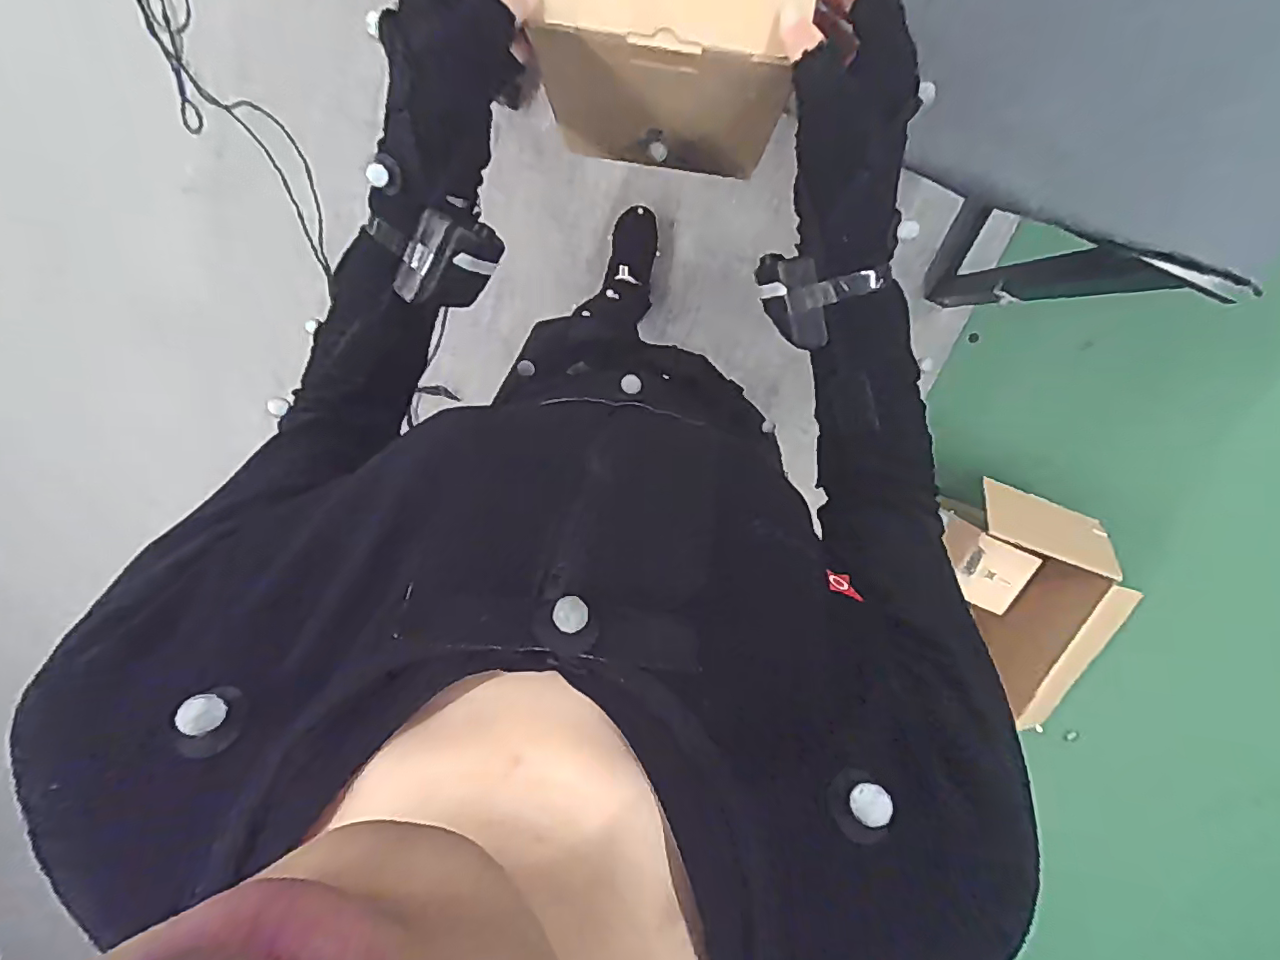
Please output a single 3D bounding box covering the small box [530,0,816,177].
[{"bbox_3d":[0.029,-0.349,0.380,0.168,0.176,0.179,9,98,-1],"label":"small box"}]
